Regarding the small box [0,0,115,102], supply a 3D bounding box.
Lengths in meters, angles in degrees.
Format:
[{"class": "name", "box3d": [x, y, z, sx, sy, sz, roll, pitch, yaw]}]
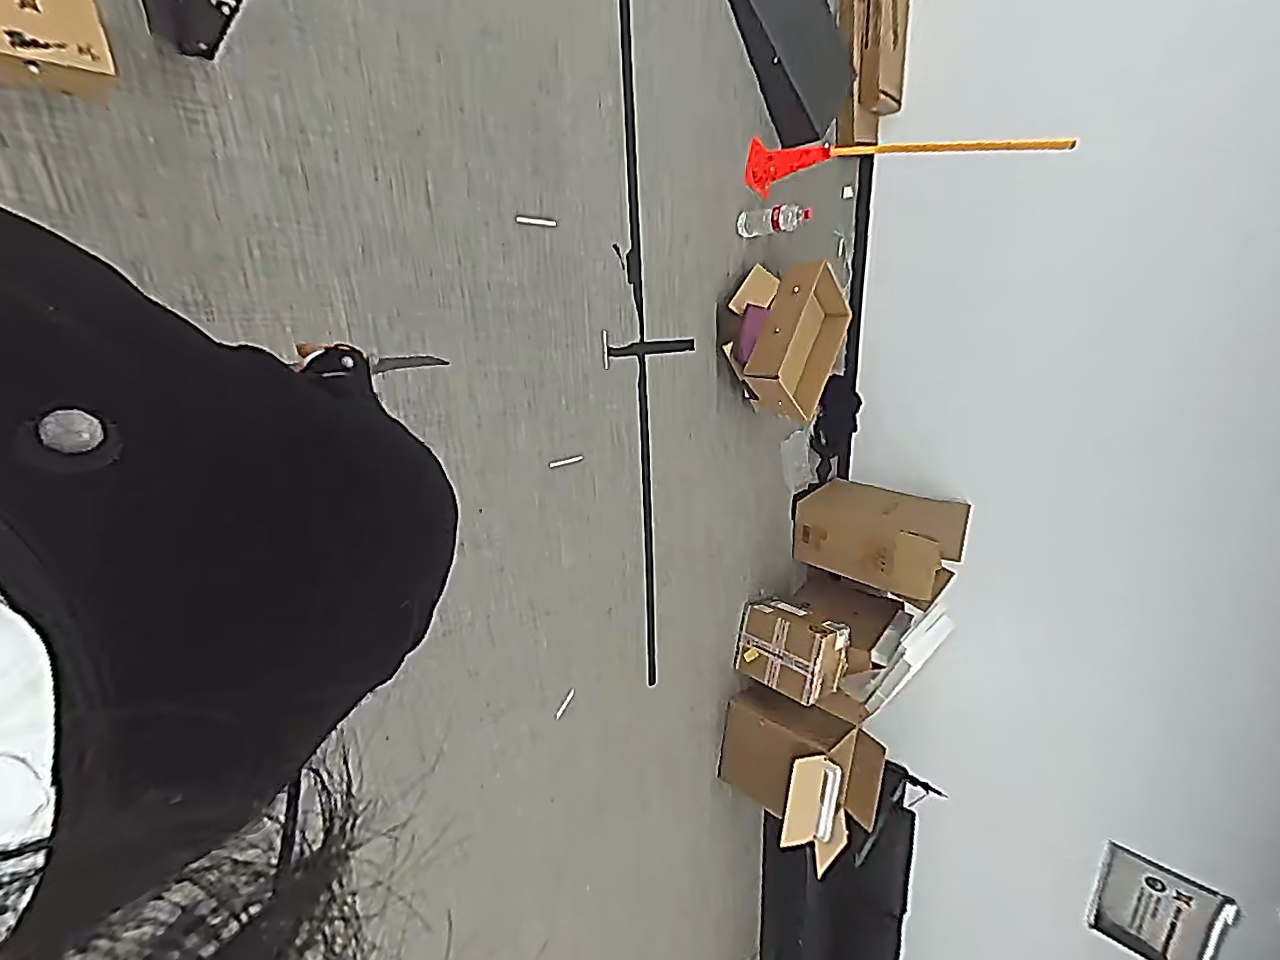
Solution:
[{"class": "small box", "box3d": [-1.002, -0.759, 0.885, 0.168, 0.176, 0.179, -19, 113, -42]}]
